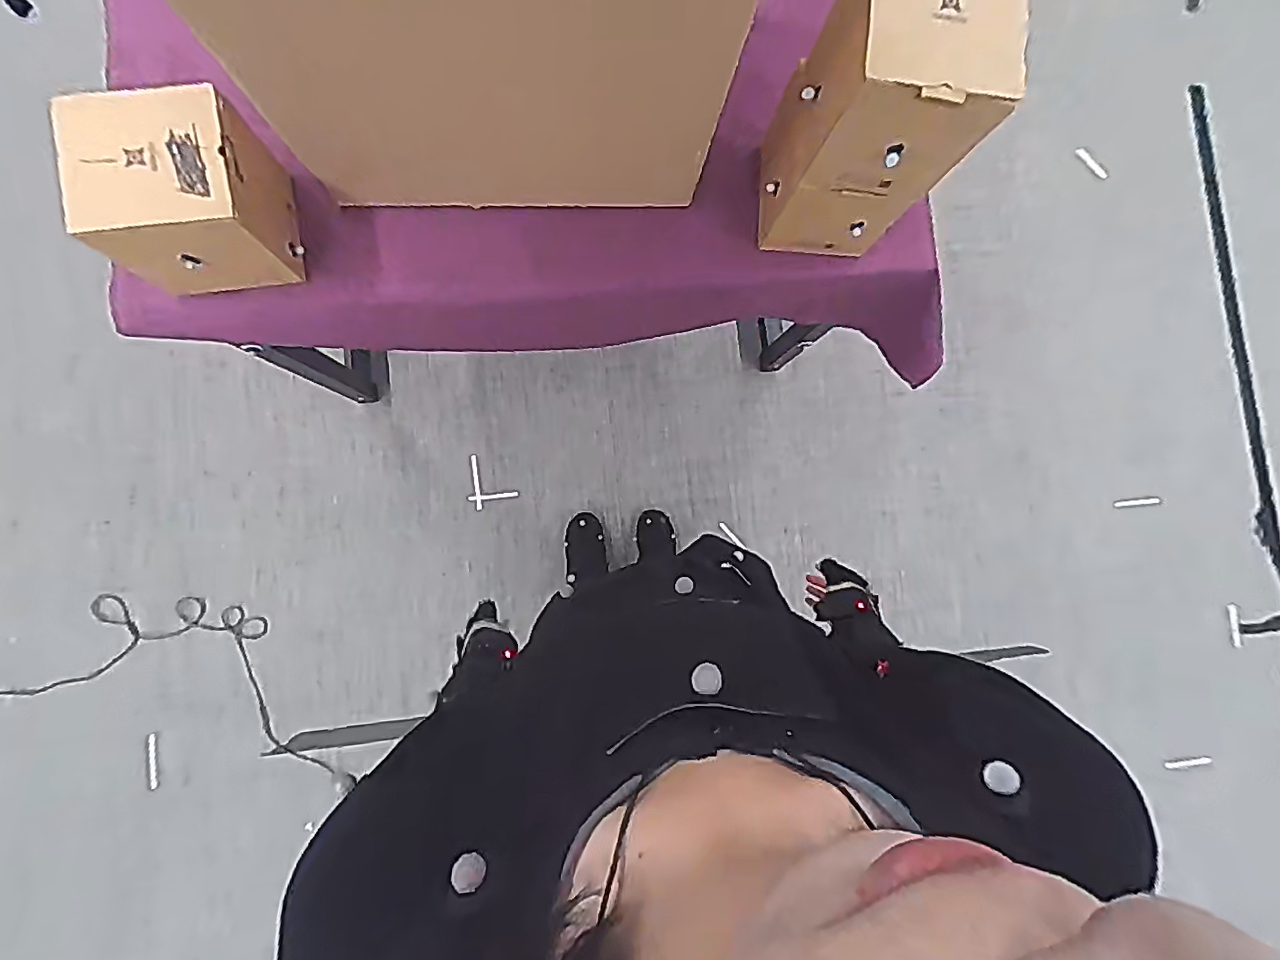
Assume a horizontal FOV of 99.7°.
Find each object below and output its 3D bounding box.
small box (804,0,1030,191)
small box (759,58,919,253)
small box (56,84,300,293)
[{"bbox_3d":[0.299,-0.463,0.614,0.168,0.176,0.179,6,86,-5],"label":"small box"},{"bbox_3d":[0.277,-0.450,0.777,0.168,0.176,0.179,2,85,-5],"label":"small box"},{"bbox_3d":[-0.564,-0.358,0.690,0.179,0.176,0.168,-10,86,-7],"label":"small box"}]
